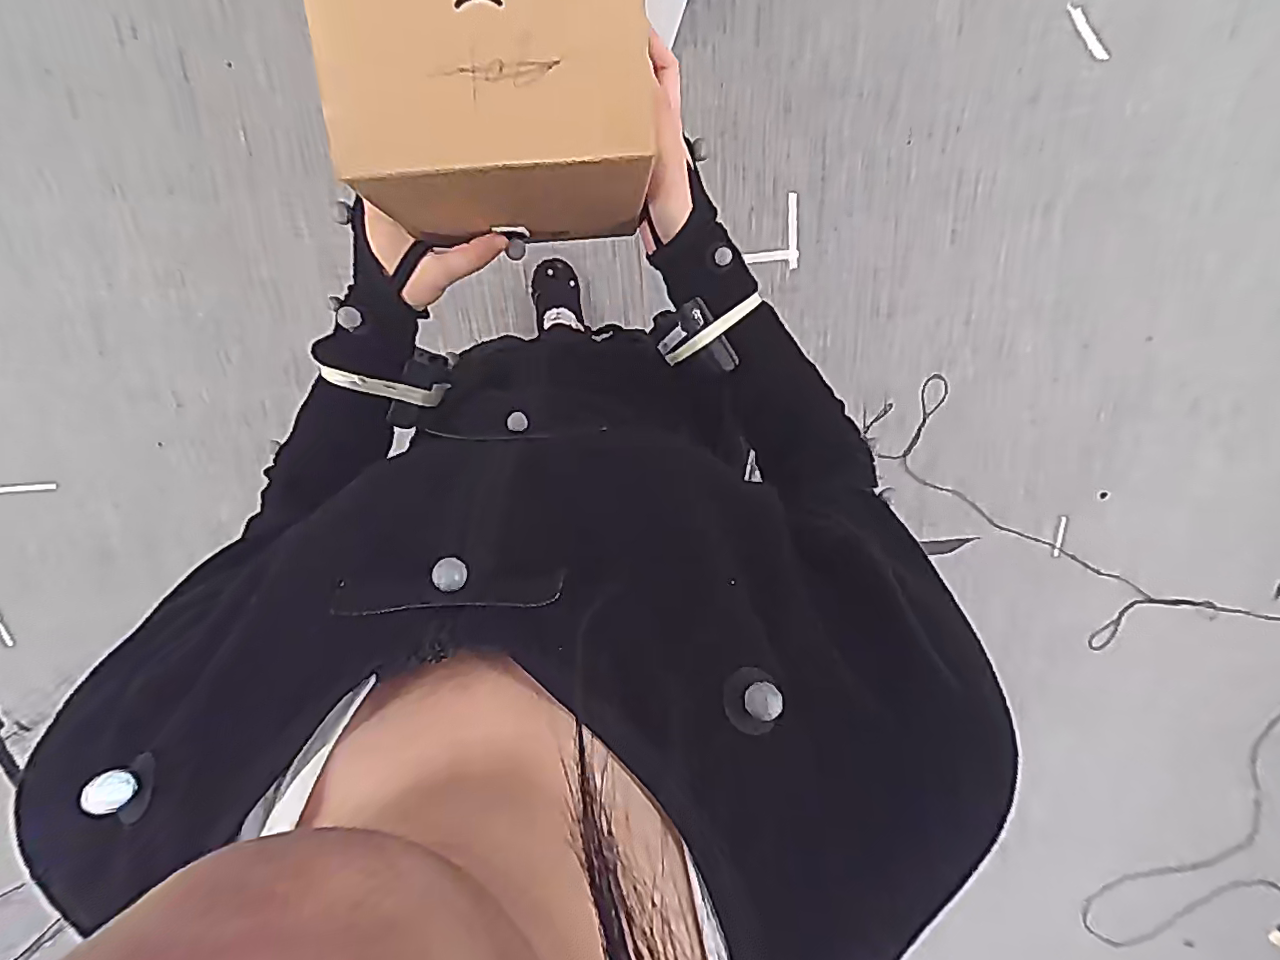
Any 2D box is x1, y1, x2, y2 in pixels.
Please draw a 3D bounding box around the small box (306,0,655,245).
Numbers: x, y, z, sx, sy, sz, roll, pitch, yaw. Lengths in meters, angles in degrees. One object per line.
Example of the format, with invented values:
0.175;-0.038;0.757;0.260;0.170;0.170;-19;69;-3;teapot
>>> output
-0.085;-0.263;0.338;0.168;0.176;0.179;-5;102;-3;small box
